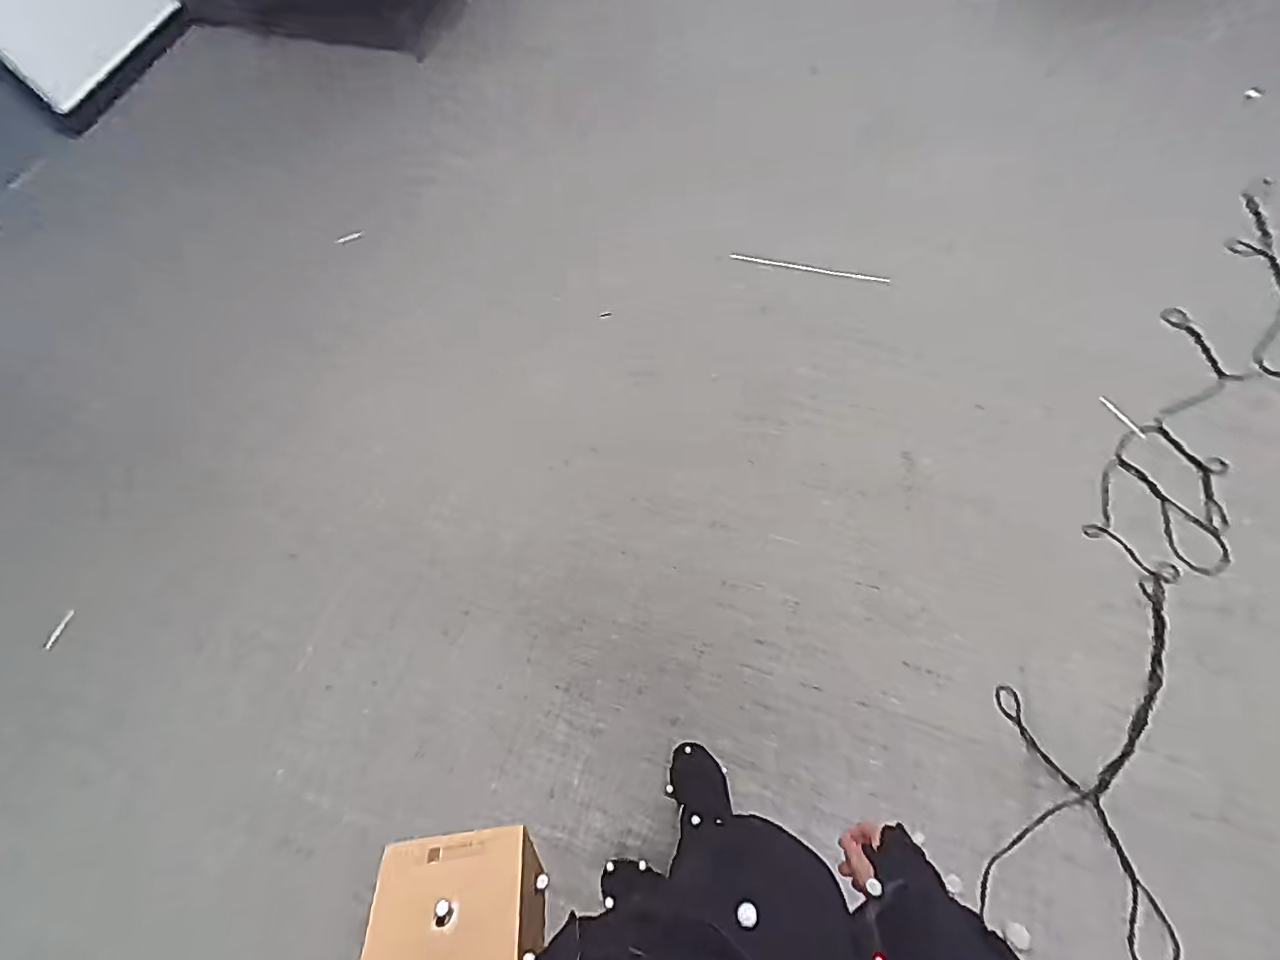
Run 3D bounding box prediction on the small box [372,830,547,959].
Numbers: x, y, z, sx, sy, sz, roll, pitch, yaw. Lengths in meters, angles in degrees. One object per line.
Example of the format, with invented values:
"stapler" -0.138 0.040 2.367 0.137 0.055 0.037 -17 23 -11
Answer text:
"small box" -0.203 0.535 0.636 0.168 0.179 0.176 -6 39 -5
